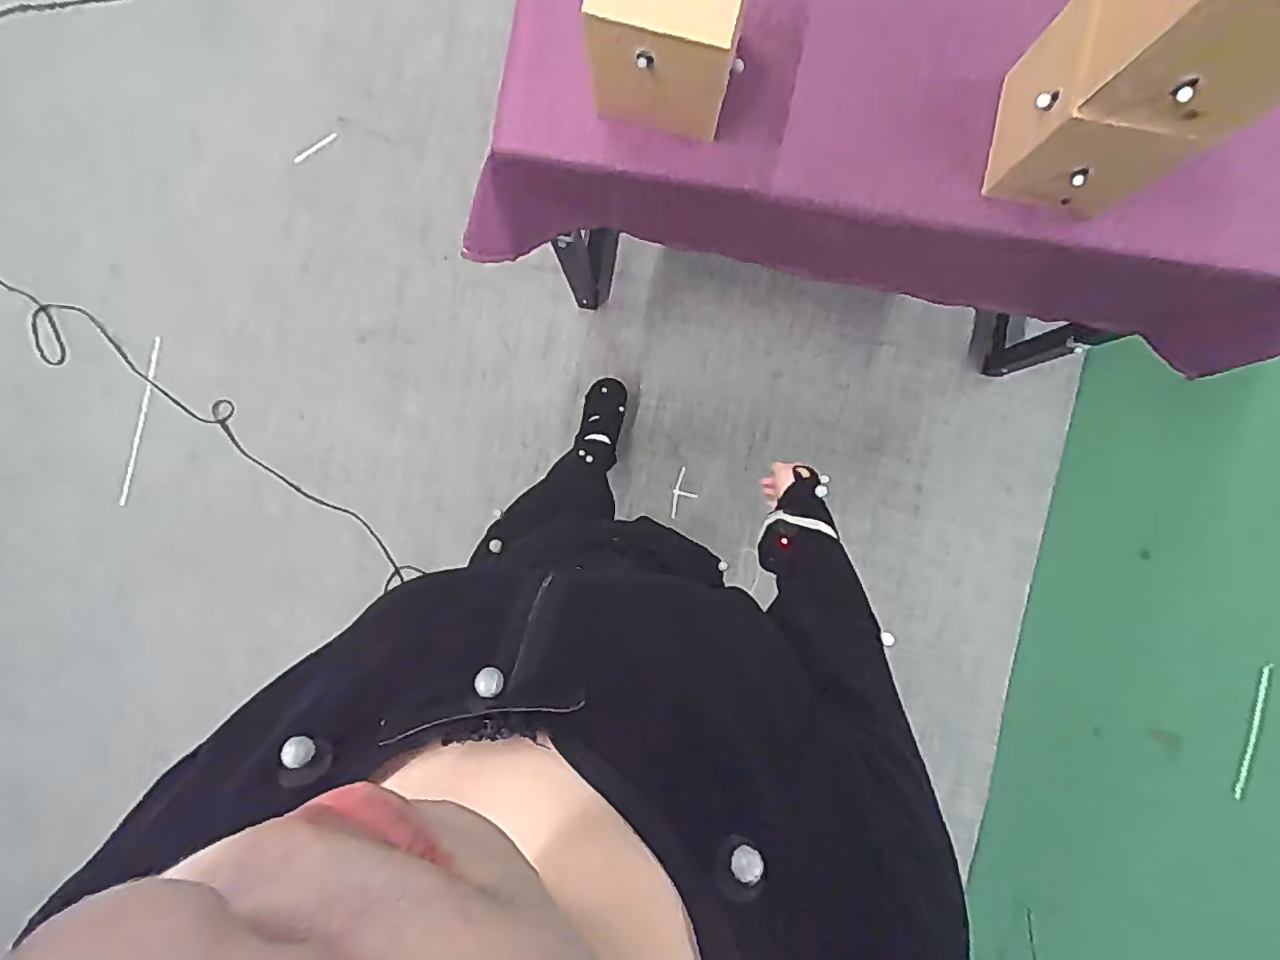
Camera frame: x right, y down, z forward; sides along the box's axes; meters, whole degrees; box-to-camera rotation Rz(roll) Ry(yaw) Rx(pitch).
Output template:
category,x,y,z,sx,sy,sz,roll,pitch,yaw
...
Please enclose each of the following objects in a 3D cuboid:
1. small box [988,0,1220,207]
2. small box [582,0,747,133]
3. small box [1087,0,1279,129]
category,x,y,z,sx,sy,sz,roll,pitch,yaw
small box,0.574,-0.474,0.676,0.168,0.176,0.179,11,90,1
small box,0.038,-0.583,0.687,0.179,0.176,0.168,14,90,0
small box,0.578,-0.481,0.512,0.168,0.176,0.179,11,91,1
